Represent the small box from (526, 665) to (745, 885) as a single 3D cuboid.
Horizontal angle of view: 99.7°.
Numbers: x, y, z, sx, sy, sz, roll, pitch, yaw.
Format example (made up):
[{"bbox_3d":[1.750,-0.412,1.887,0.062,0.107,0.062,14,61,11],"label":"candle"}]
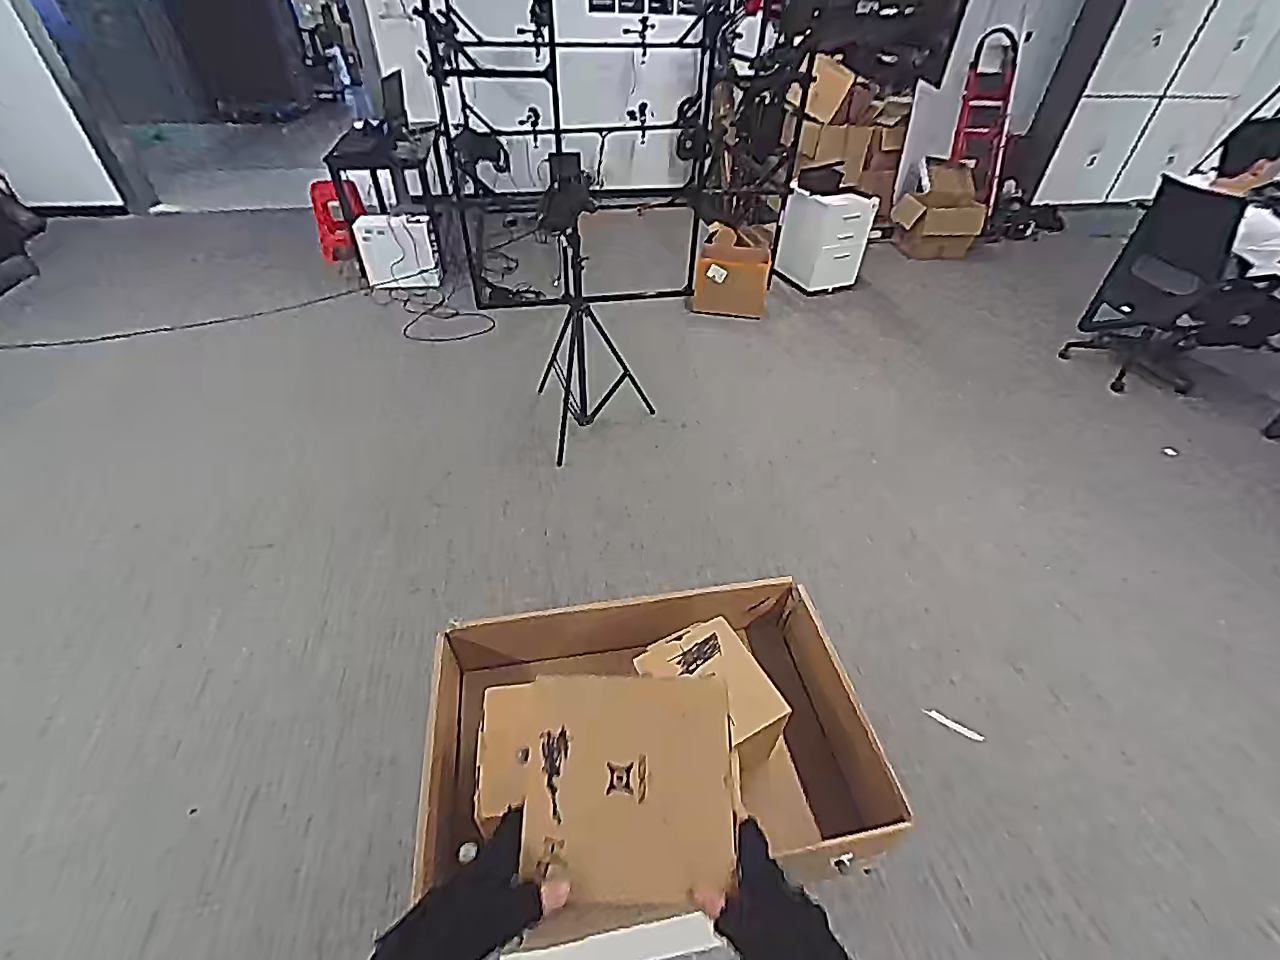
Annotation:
[{"bbox_3d":[-0.007,0.281,0.531,0.179,0.176,0.168,1,62,-3],"label":"small box"}]
